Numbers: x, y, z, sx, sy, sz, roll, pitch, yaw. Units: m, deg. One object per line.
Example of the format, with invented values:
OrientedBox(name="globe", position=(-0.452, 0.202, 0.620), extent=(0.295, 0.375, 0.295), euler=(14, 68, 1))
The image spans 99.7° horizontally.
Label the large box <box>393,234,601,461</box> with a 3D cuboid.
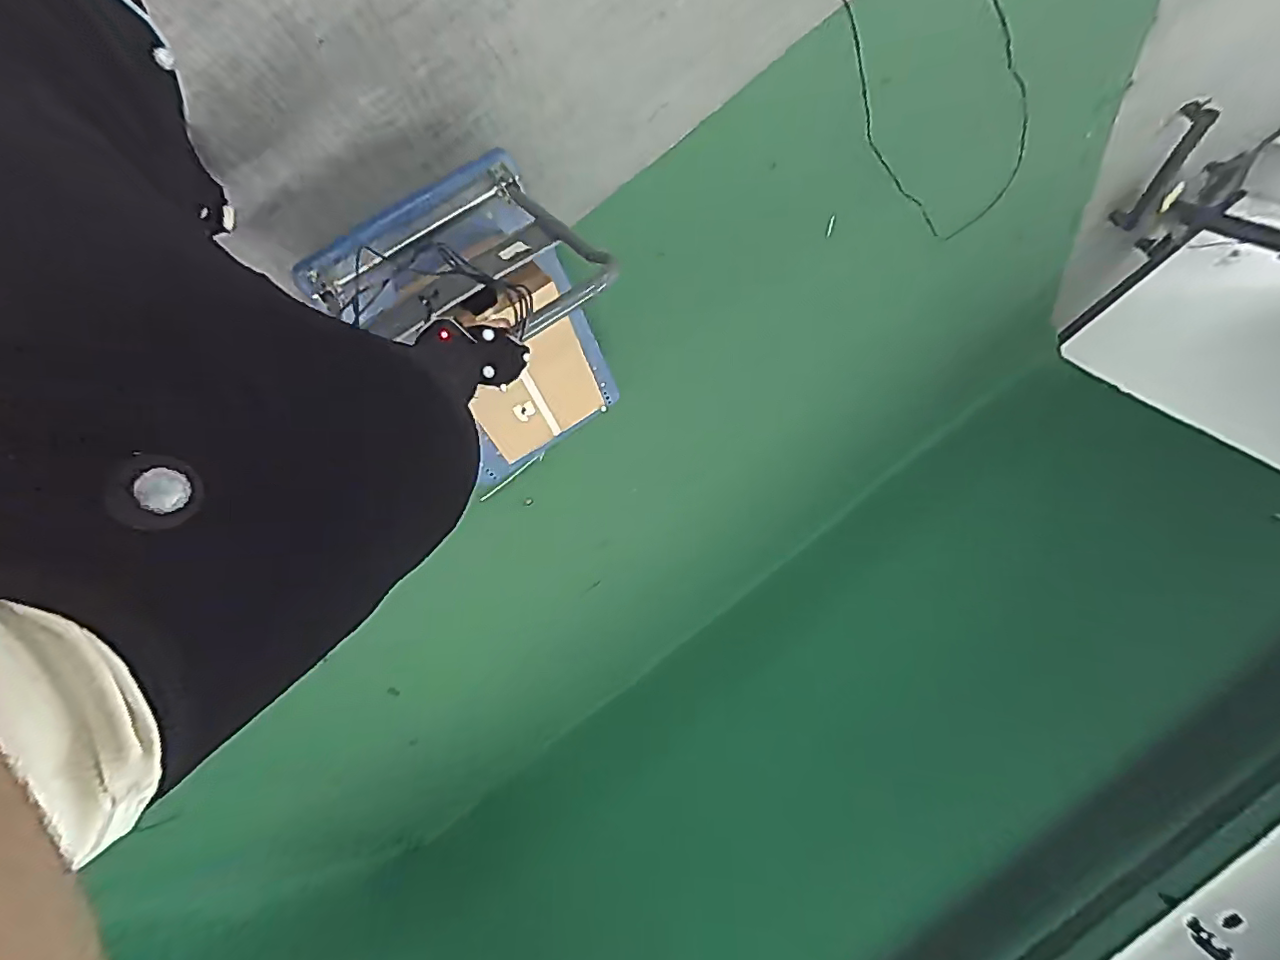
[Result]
OrientedBox(name="large box", position=(-0.355, -0.334, 1.394), extent=(0.320, 0.320, 0.408), euler=(-33, 144, -8))
